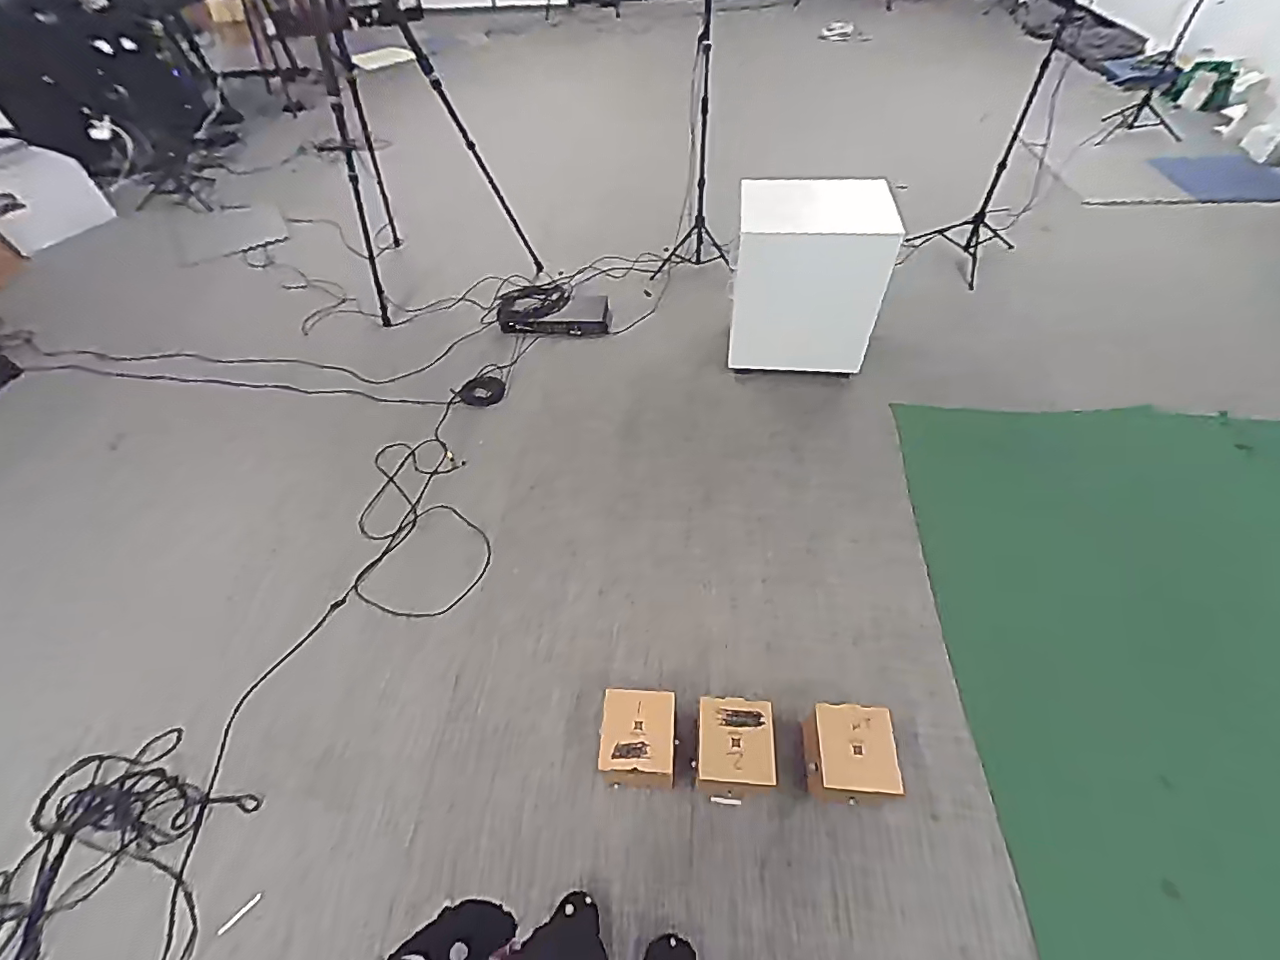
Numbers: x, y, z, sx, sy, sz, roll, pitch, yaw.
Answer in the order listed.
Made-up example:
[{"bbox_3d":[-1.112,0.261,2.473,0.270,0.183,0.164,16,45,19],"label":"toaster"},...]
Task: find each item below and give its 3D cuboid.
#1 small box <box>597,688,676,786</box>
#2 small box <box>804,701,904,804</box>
[{"bbox_3d":[0.000,0.611,1.281,0.168,0.176,0.179,1,50,5],"label":"small box"},{"bbox_3d":[0.479,0.627,1.239,0.168,0.176,0.179,2,51,5],"label":"small box"}]
